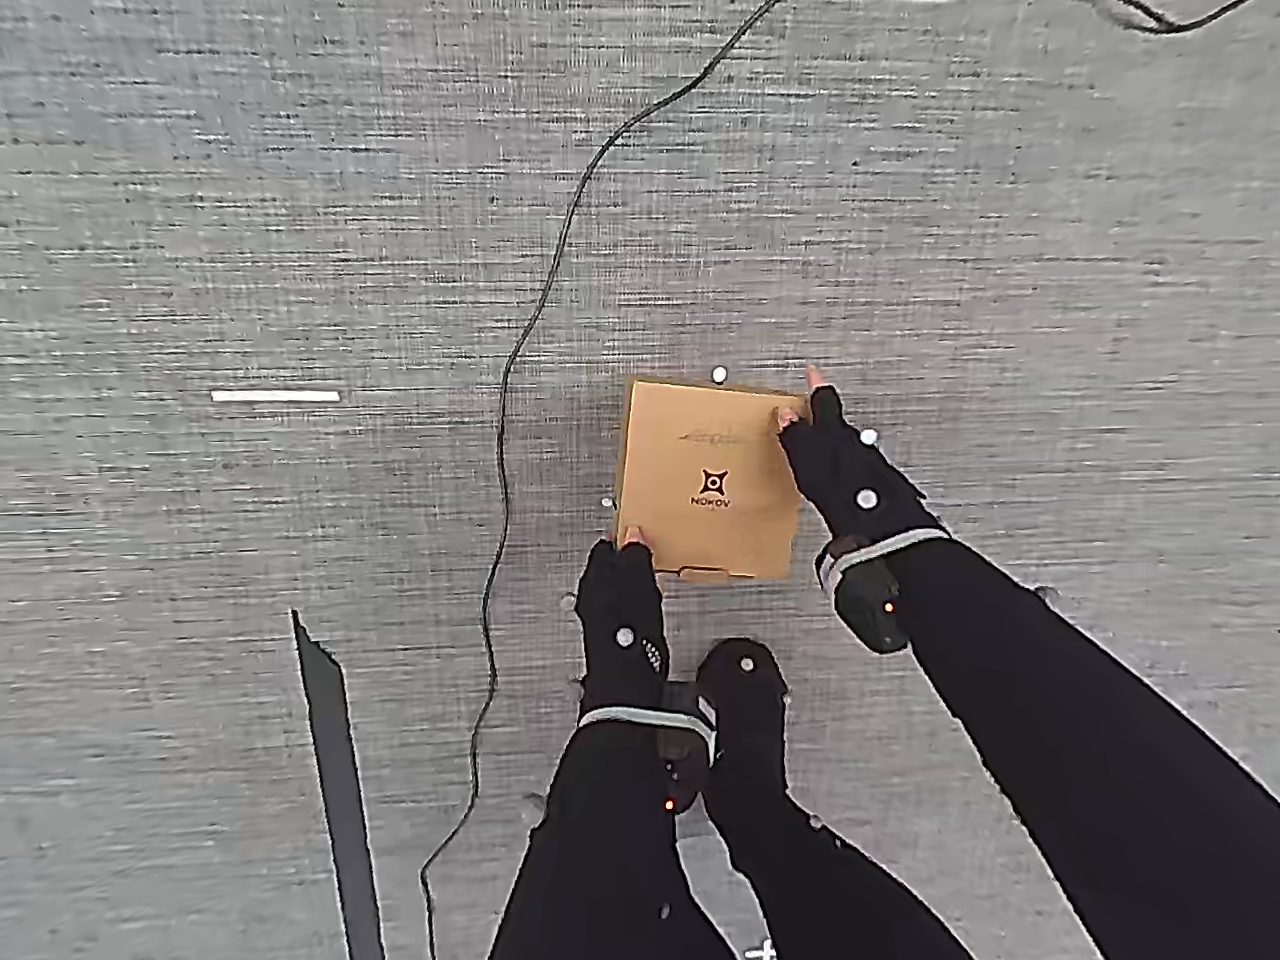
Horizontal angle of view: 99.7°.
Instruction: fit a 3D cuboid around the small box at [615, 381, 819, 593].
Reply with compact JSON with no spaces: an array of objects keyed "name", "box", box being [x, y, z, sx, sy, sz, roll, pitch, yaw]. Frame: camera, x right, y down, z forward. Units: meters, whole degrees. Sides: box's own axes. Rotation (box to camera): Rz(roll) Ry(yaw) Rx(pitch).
[{"name":"small box","box":[0.063,-0.003,0.564,0.168,0.176,0.179,5,103,-5]}]
